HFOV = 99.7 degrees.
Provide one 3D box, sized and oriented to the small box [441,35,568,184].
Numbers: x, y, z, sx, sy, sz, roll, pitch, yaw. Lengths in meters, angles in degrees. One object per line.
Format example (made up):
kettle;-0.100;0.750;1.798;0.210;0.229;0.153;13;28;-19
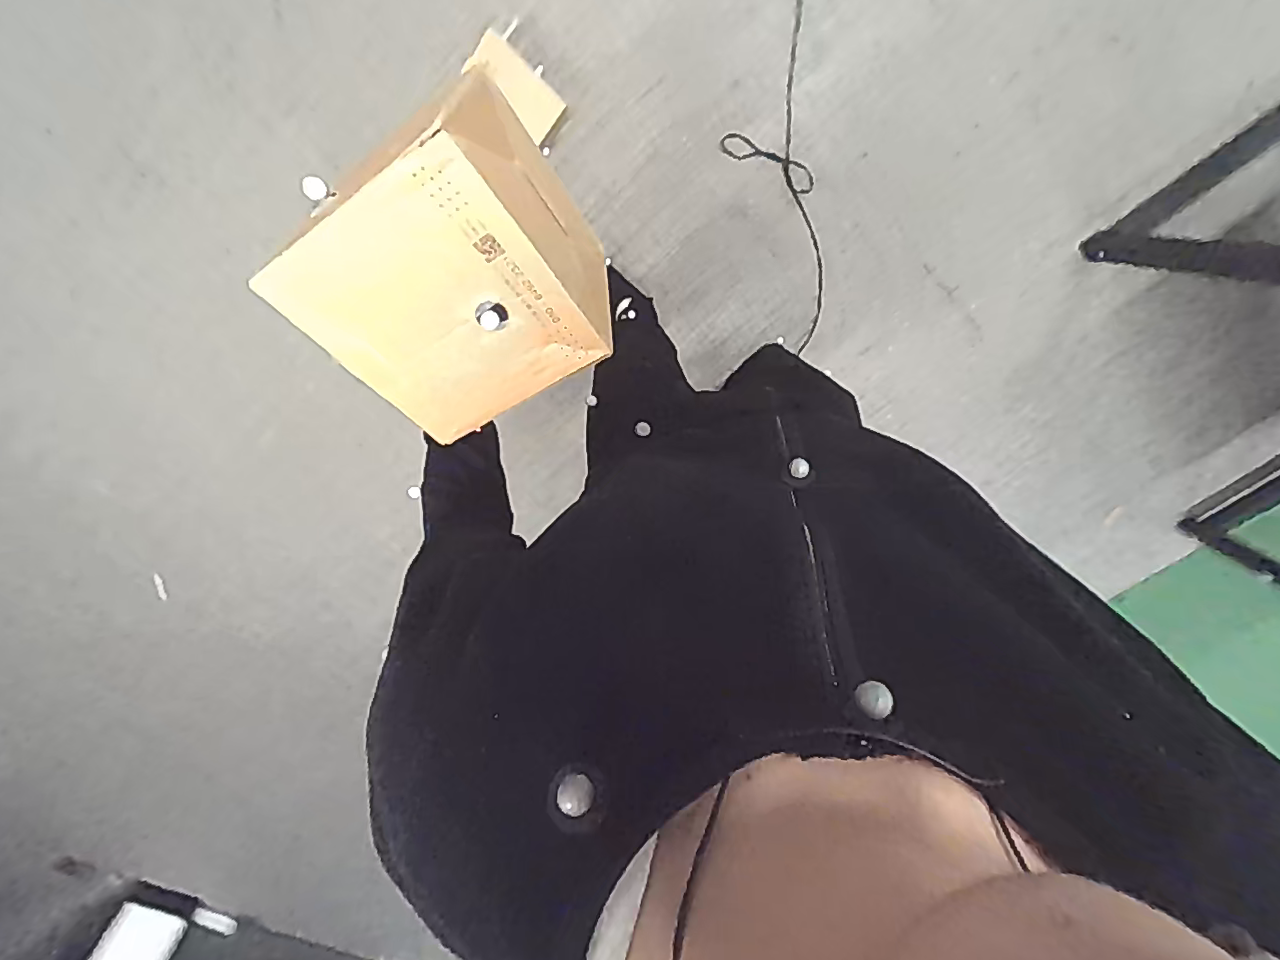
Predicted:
small box;-0.259;-0.727;1.083;0.179;0.176;0.168;37;109;-21
